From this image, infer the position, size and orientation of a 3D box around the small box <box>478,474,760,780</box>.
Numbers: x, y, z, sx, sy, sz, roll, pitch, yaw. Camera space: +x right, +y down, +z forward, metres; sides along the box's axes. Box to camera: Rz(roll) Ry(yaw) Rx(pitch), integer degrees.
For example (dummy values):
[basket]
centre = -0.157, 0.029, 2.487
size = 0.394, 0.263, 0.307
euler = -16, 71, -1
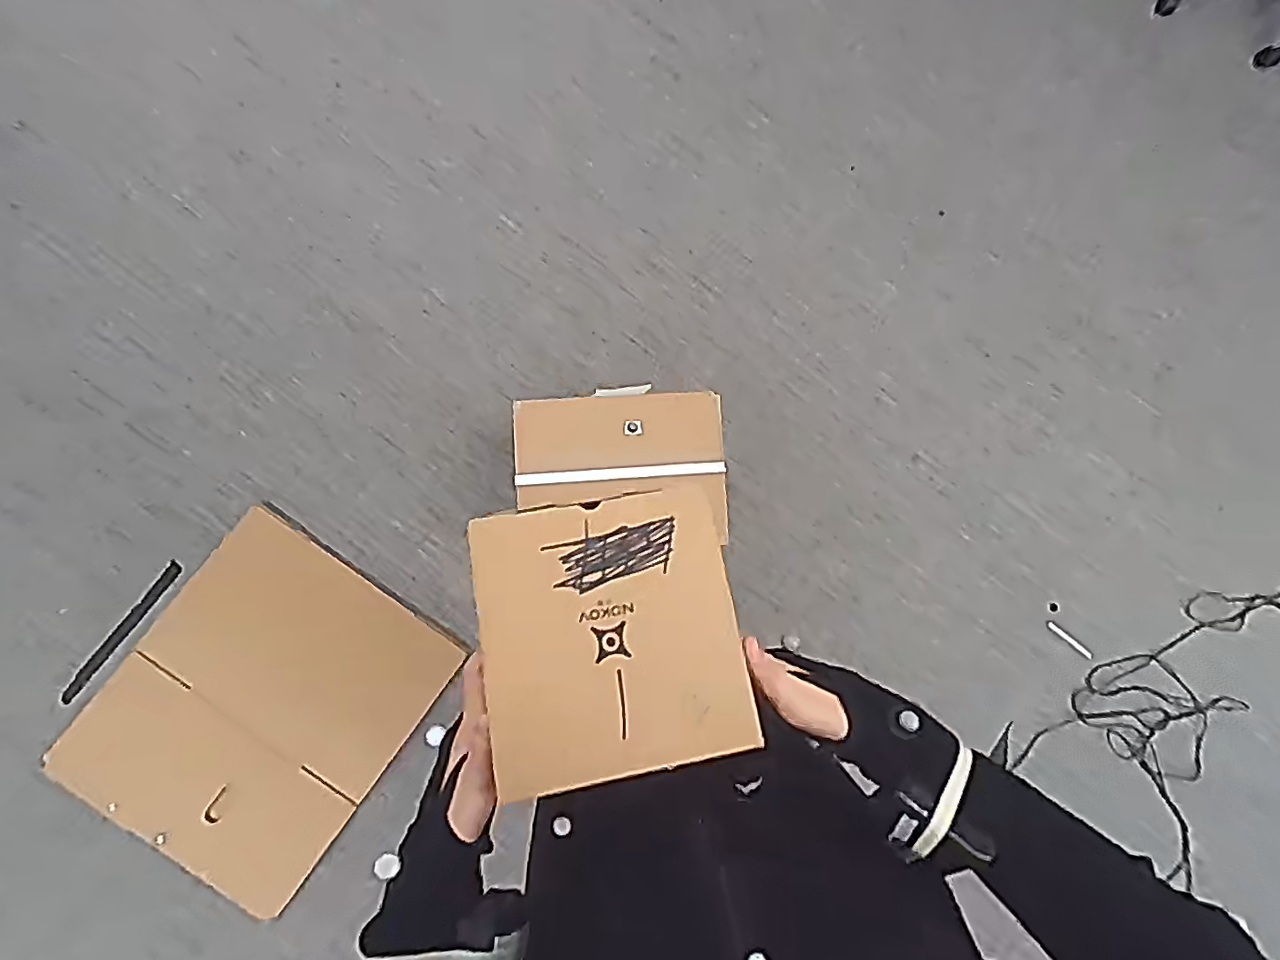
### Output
[small box]
centre = -0.024, 0.112, 0.430
size = 0.168, 0.176, 0.179
euler = -9, 73, -6
